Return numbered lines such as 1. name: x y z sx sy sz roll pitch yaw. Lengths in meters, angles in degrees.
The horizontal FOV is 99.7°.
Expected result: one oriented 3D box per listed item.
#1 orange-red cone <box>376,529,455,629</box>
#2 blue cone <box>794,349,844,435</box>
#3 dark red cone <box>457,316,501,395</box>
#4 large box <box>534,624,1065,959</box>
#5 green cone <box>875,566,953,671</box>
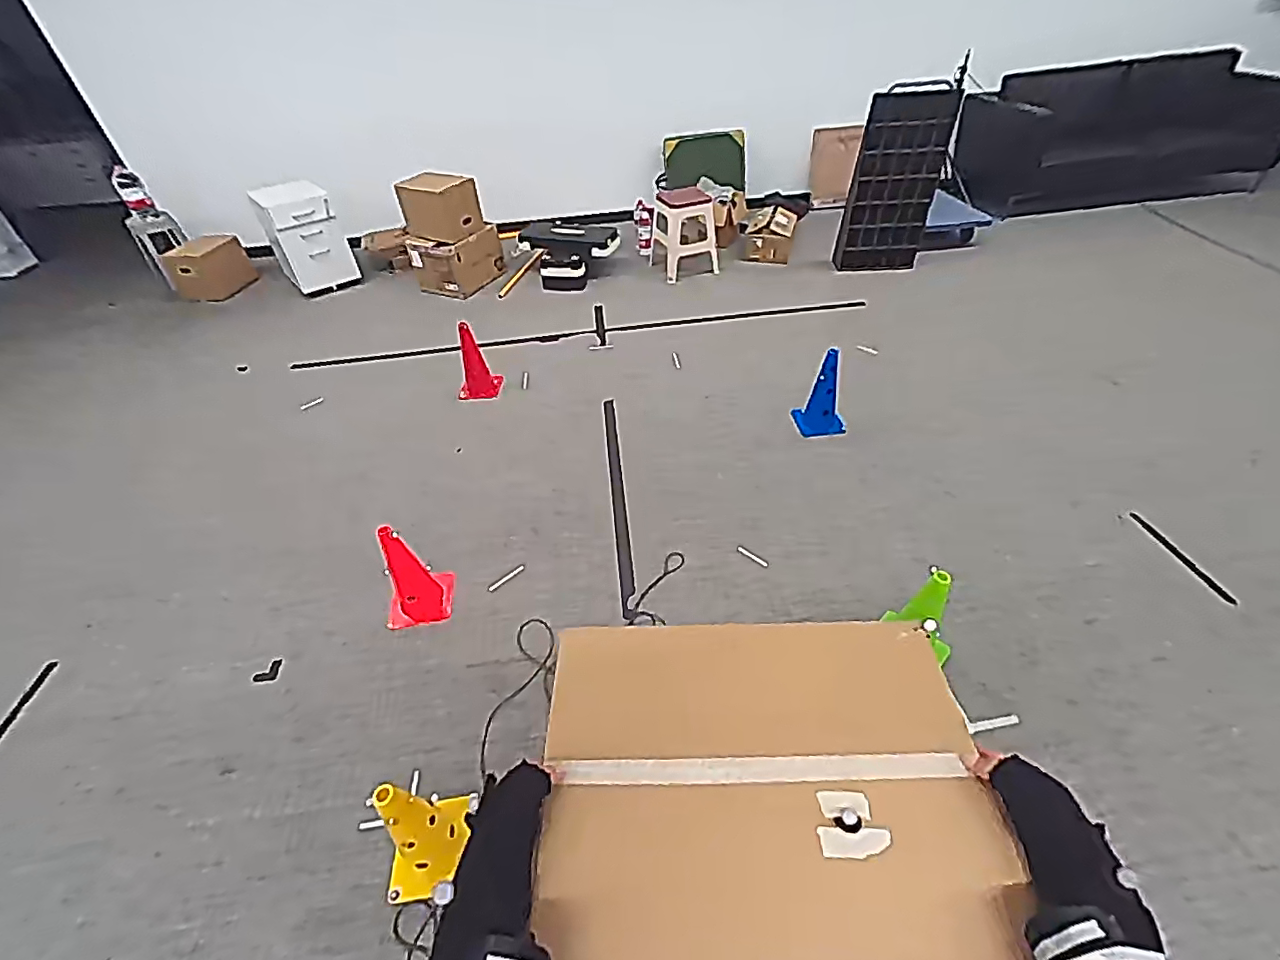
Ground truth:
1. orange-red cone: -0.742 0.284 1.706 0.198 0.360 0.199 -9 44 -4
2. blue cone: 0.798 -0.386 2.326 0.192 0.380 0.193 -4 43 -1
3. dark red cone: -0.826 -0.610 2.647 0.201 0.394 0.202 -2 43 1
4. large box: 0.119 0.383 0.602 0.408 0.320 0.320 -1 42 2
5. green cone: 0.777 0.369 1.483 0.202 0.368 0.200 -34 51 -30
